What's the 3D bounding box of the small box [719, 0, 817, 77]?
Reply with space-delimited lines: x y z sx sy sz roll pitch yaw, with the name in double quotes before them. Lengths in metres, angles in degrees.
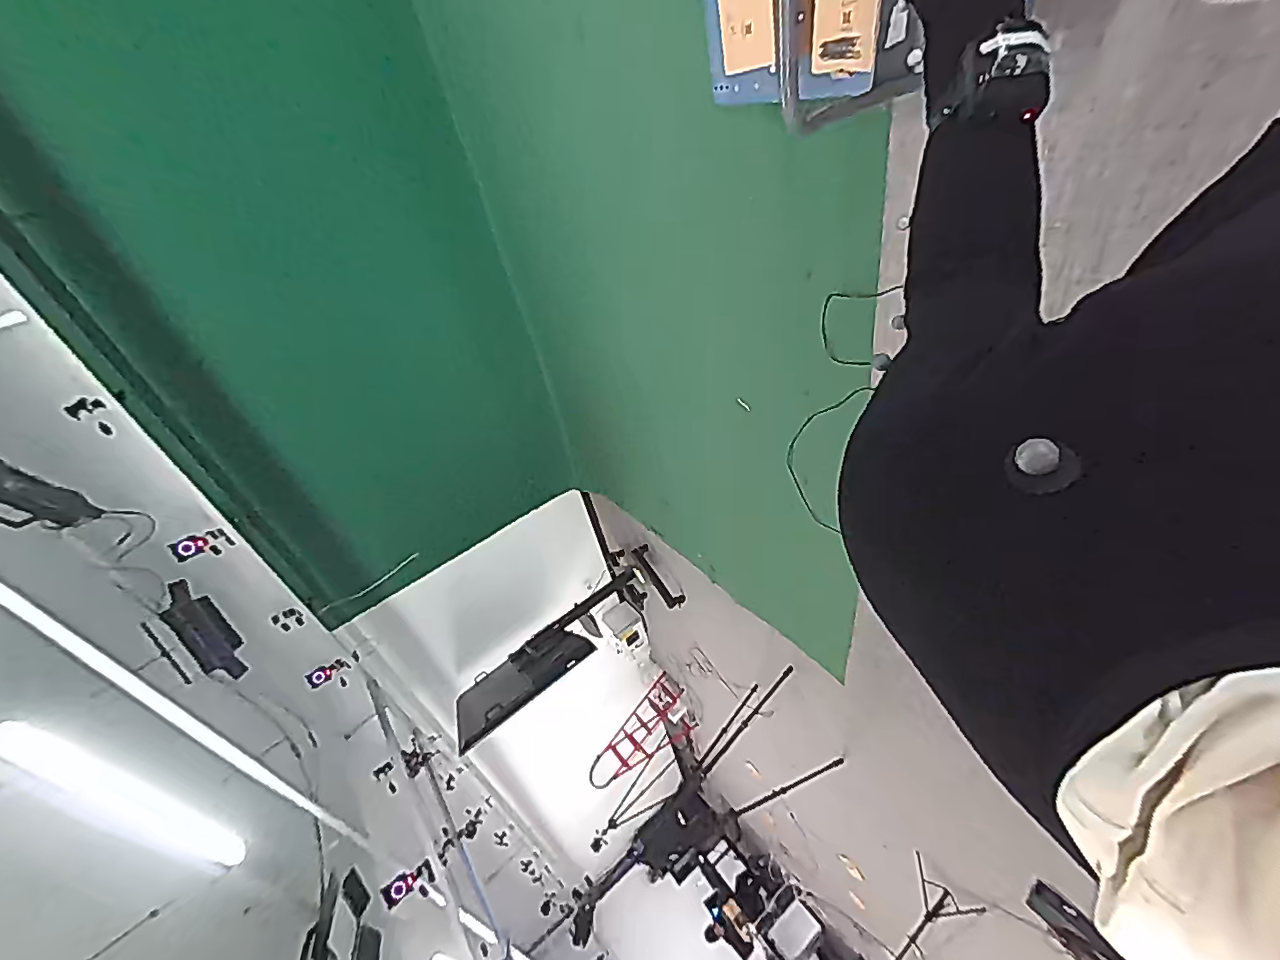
"small box" 0.326 -1.137 1.351 0.179 0.176 0.168 32 146 46
